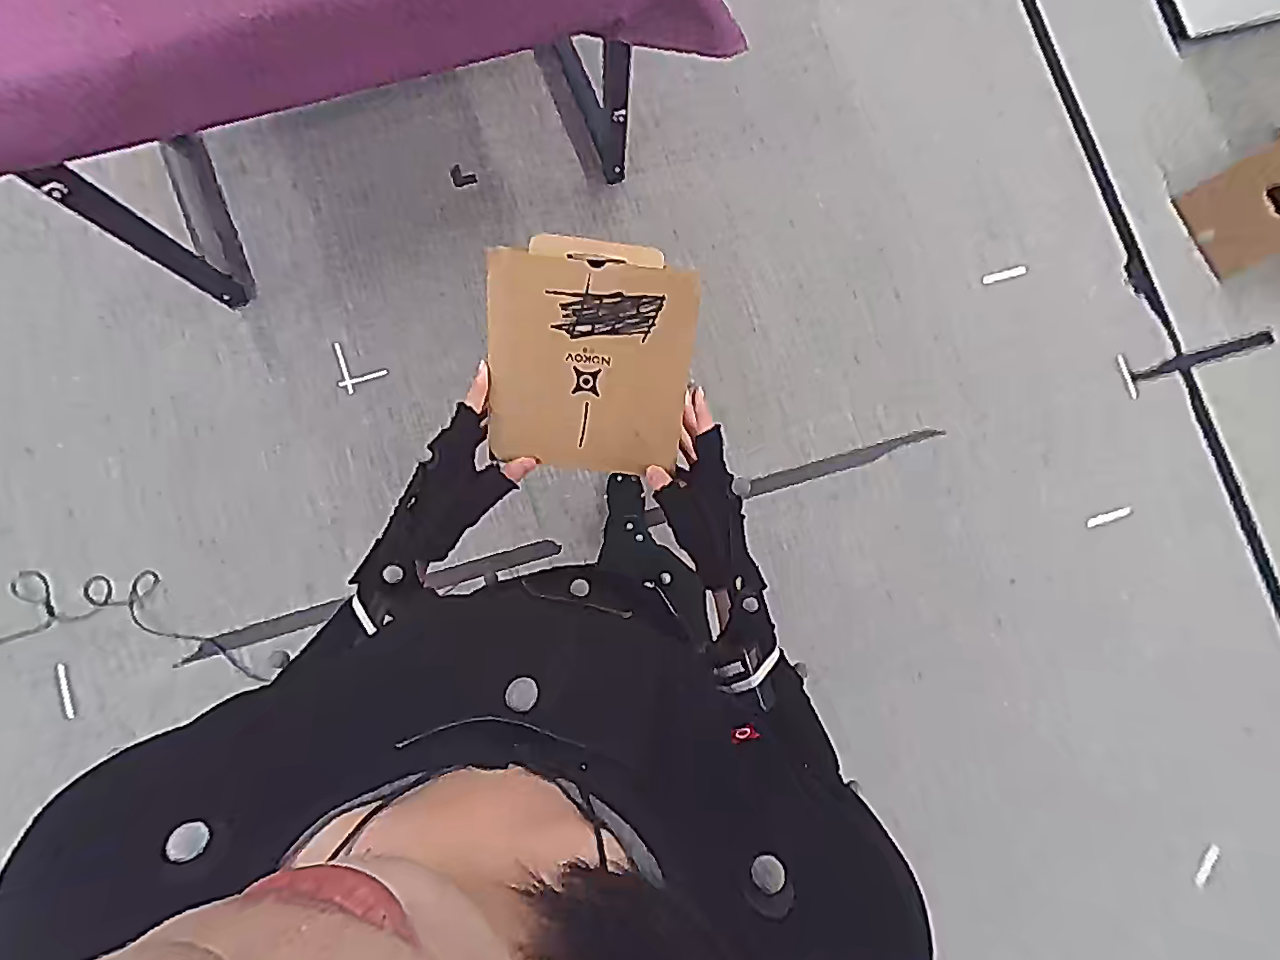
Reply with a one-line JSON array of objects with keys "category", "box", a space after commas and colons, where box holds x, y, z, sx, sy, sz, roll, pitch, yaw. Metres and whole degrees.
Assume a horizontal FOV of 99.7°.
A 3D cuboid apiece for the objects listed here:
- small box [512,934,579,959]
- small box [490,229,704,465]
[{"category": "small box", "box": [-0.225, 1.230, 1.264, 0.179, 0.176, 0.168, -18, 86, -8]}, {"category": "small box", "box": [-0.040, -0.125, 0.520, 0.168, 0.176, 0.179, 5, 106, -2]}]
